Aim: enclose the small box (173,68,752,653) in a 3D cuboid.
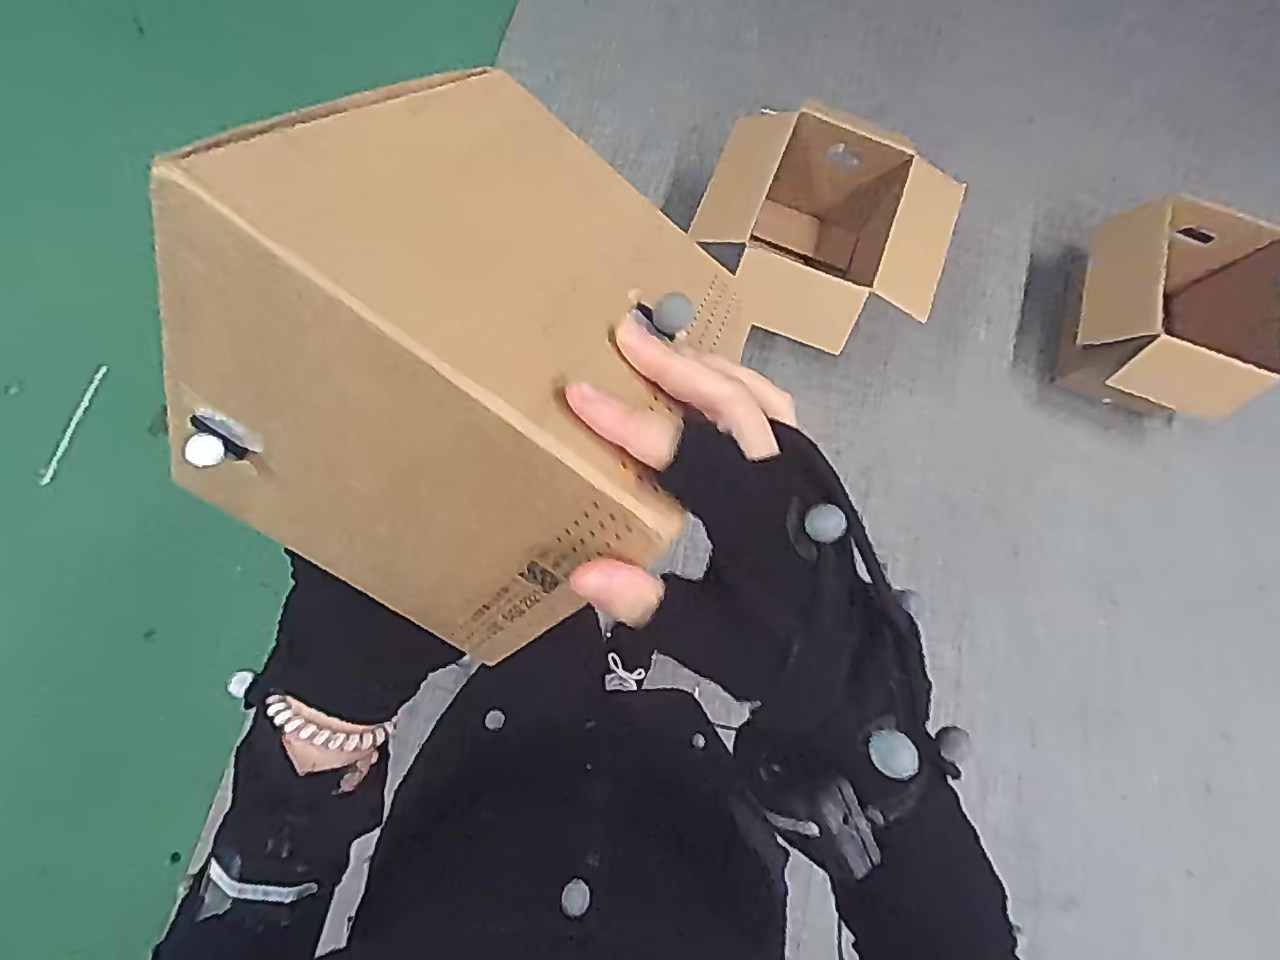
[{"bbox_3d":[-0.067,-0.050,0.262,0.176,0.168,0.179,36,44,-12],"label":"small box"}]
